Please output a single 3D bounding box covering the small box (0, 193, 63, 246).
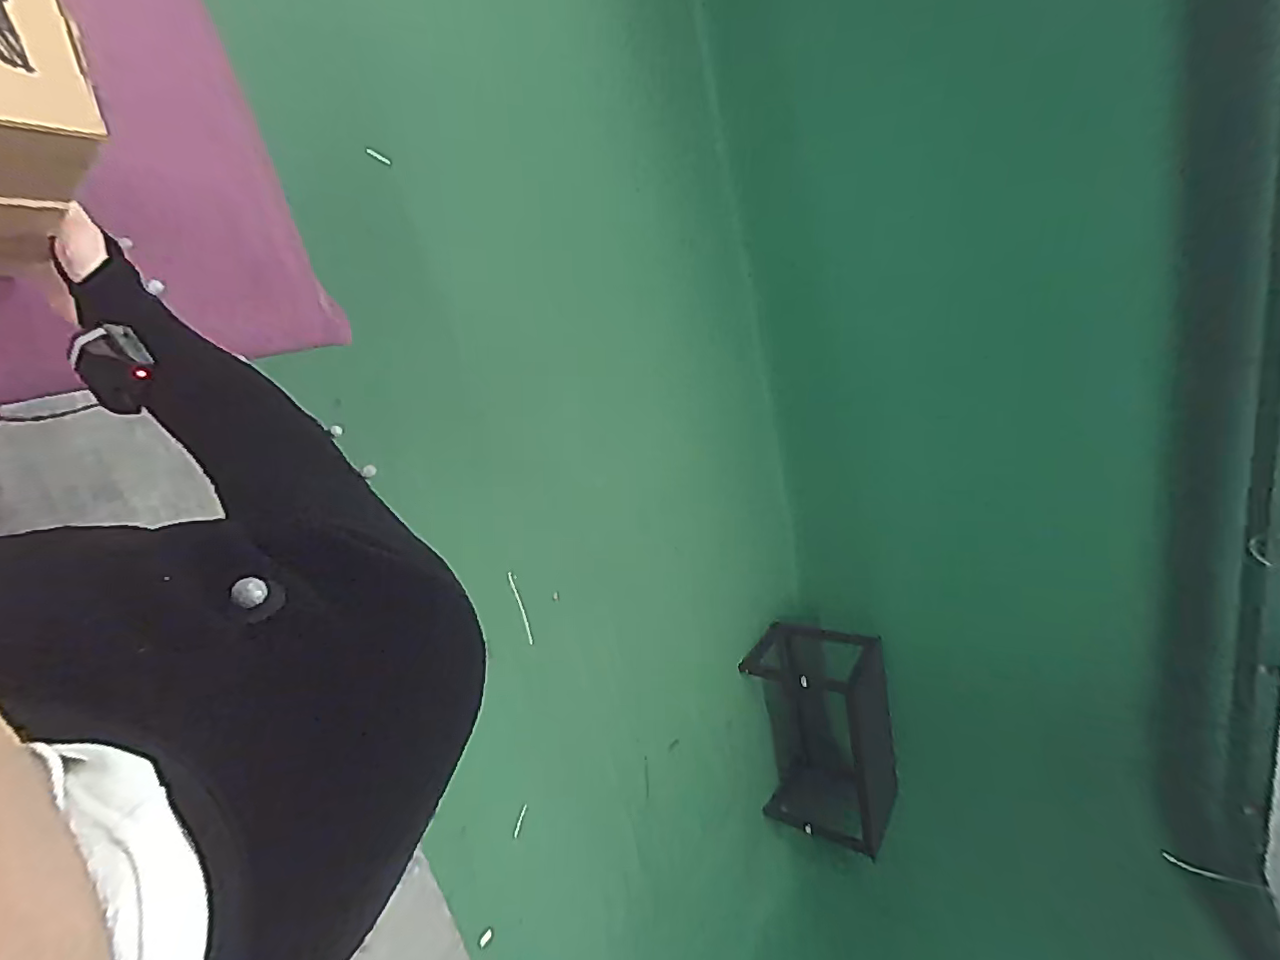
[{"bbox_3d":[-0.567,-0.273,0.388,0.179,0.176,0.168,-21,112,-47],"label":"small box"}]

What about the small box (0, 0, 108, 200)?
[{"bbox_3d":[-0.438,-0.260,0.287,0.179,0.176,0.168,-23,113,-47],"label":"small box"}]

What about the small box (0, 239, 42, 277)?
[{"bbox_3d":[-0.695,-0.285,0.489,0.179,0.176,0.168,-19,110,-49],"label":"small box"}]
